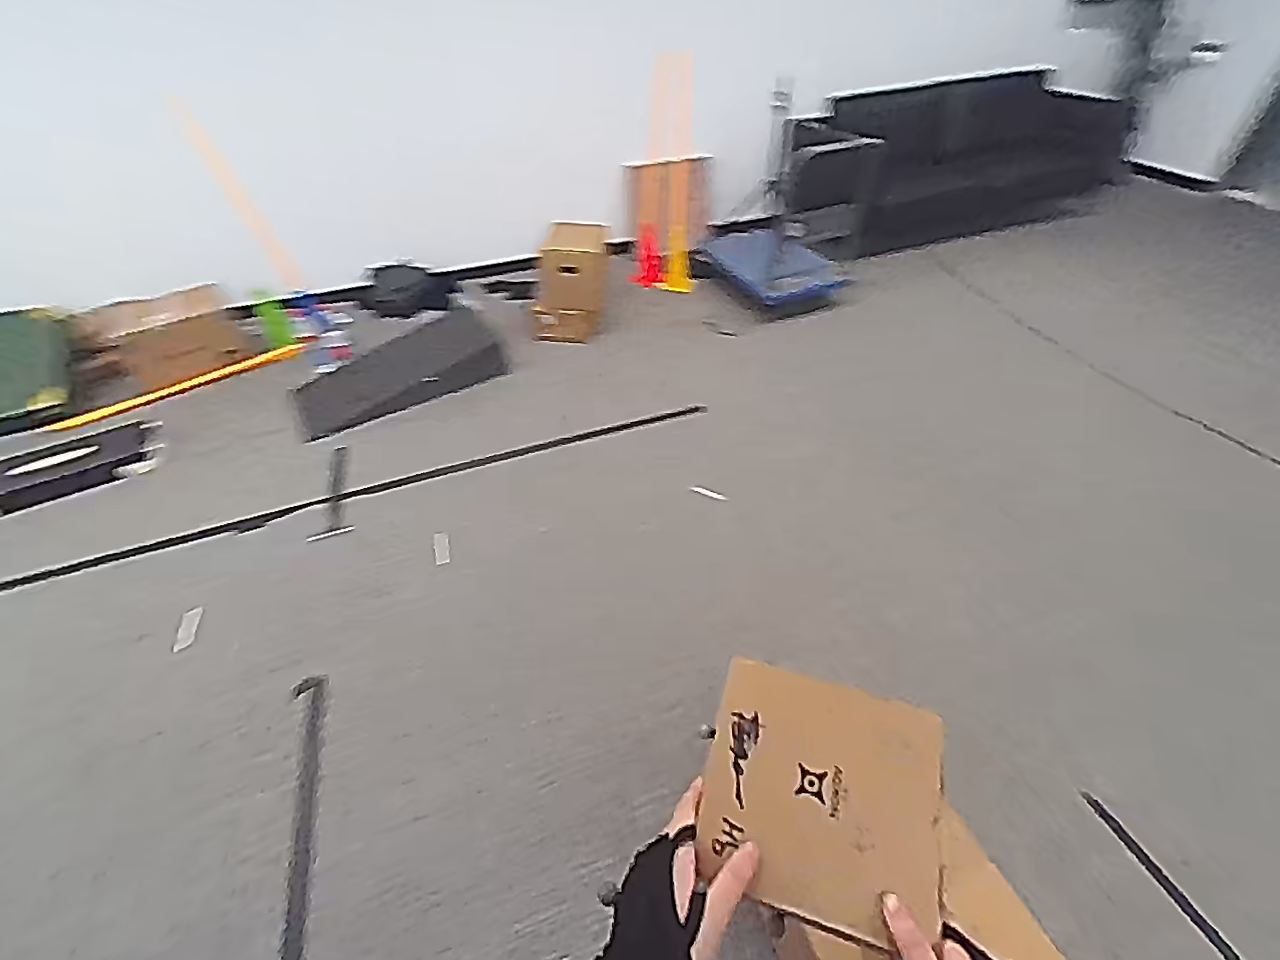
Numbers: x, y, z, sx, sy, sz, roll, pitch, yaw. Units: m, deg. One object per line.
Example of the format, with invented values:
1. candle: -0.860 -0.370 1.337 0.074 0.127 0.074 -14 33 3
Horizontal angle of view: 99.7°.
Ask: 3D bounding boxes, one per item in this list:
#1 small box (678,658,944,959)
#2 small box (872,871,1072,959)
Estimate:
1. small box: 0.137 0.282 0.472 0.179 0.176 0.168 13 54 12
2. small box: 0.416 0.621 0.653 0.168 0.176 0.179 -17 44 -14
